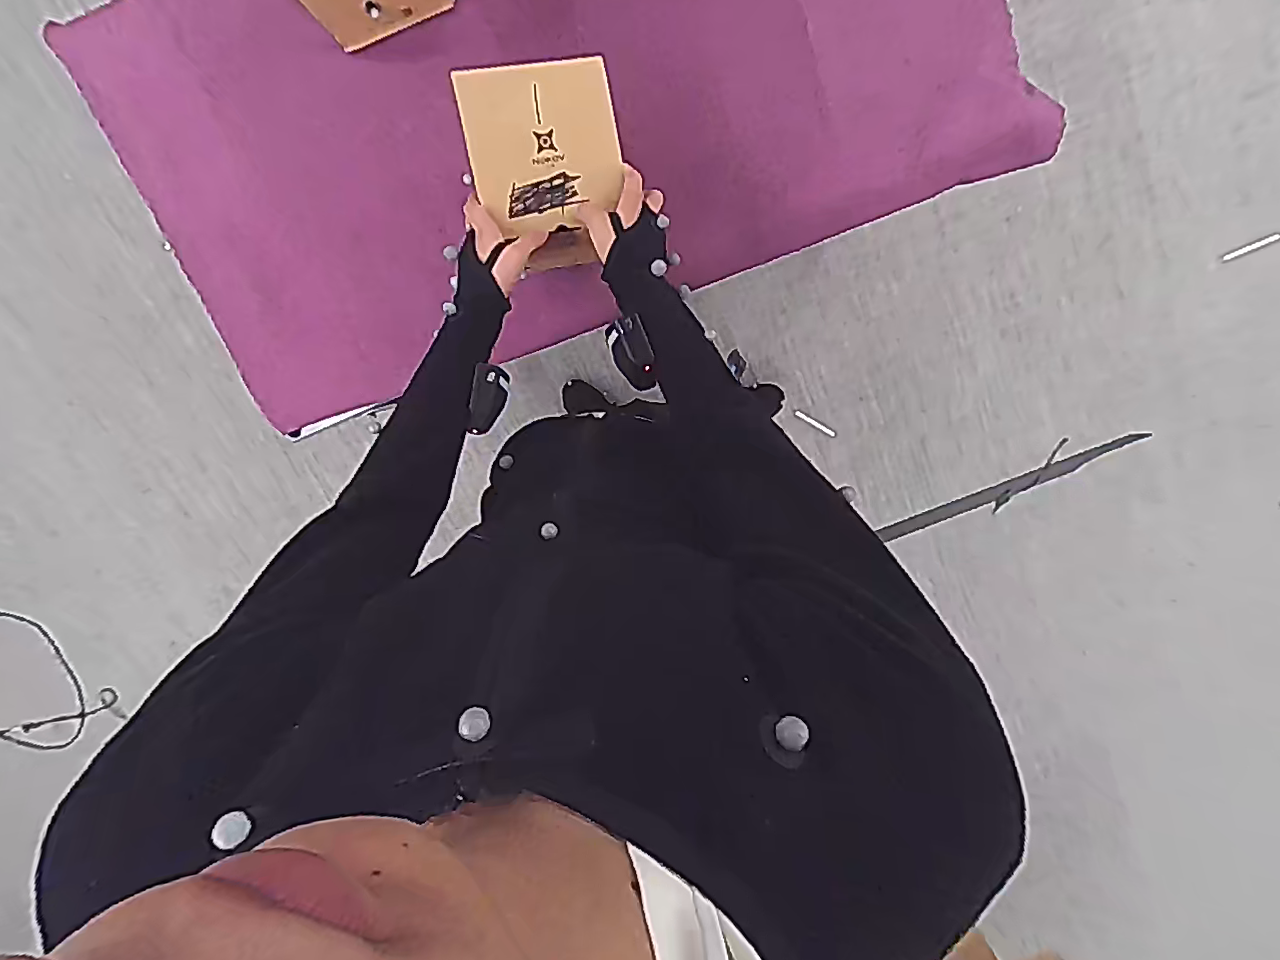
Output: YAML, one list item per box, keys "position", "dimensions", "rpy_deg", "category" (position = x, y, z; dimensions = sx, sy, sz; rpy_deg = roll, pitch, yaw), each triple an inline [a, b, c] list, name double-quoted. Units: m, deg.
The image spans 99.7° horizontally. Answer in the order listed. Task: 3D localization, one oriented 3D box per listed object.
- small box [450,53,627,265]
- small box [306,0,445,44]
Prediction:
- position: [-0.119, -0.376, 0.668]
  dimensions: [0.168, 0.176, 0.179]
  rpy_deg: [-12, 101, -8]
  category: "small box"
- position: [-0.360, -0.679, 0.638]
  dimensions: [0.168, 0.176, 0.179]
  rpy_deg: [-21, 103, 4]
  category: "small box"
